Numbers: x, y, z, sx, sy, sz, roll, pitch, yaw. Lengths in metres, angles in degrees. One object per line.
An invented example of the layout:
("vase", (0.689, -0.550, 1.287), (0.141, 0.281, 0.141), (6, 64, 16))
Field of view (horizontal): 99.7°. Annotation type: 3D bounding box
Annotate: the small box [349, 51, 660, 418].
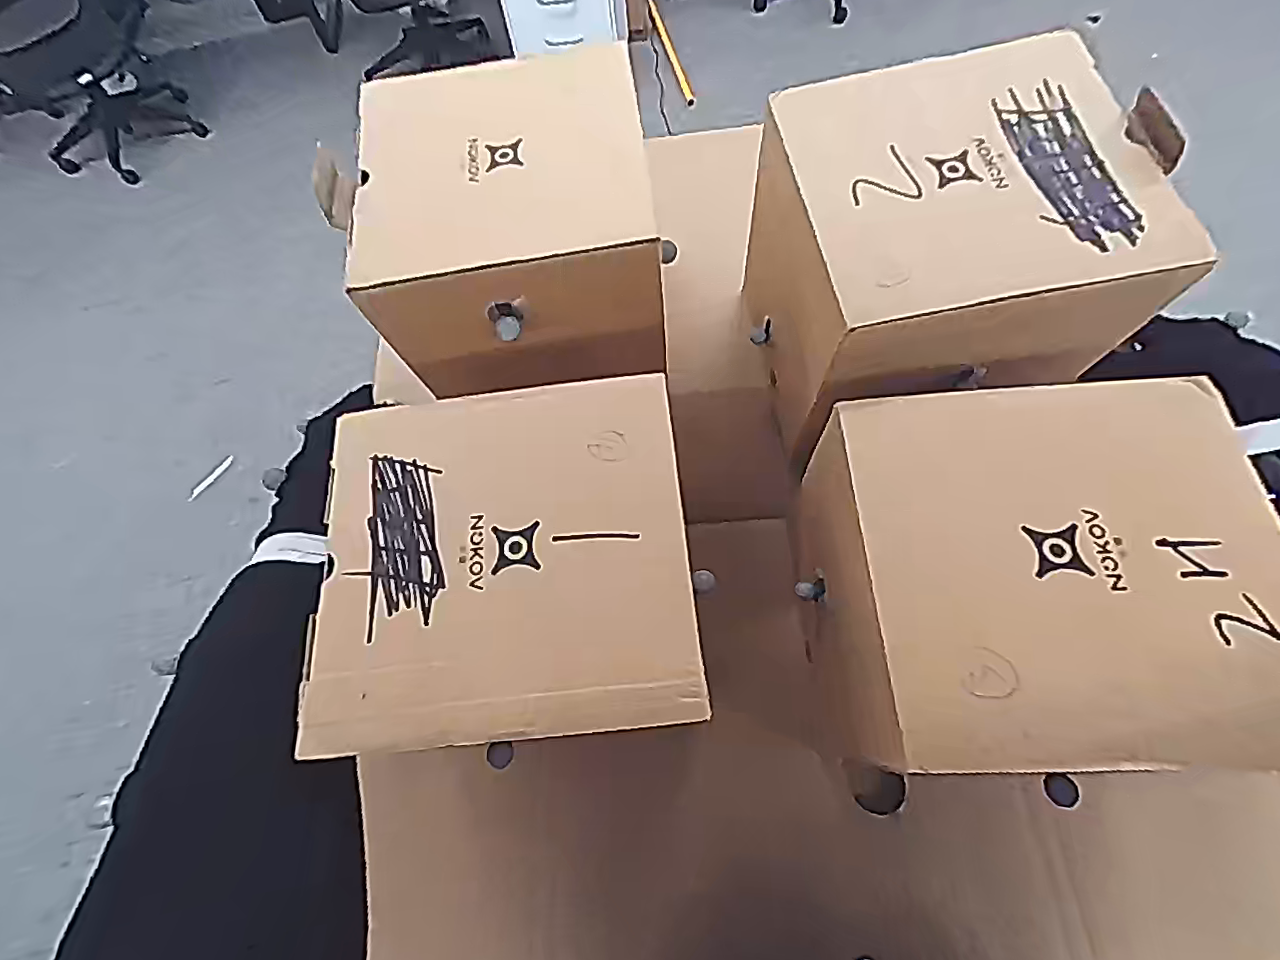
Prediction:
("small box", (-0.080, -0.164, 0.403), (0.179, 0.176, 0.168), (-9, 68, 3))
